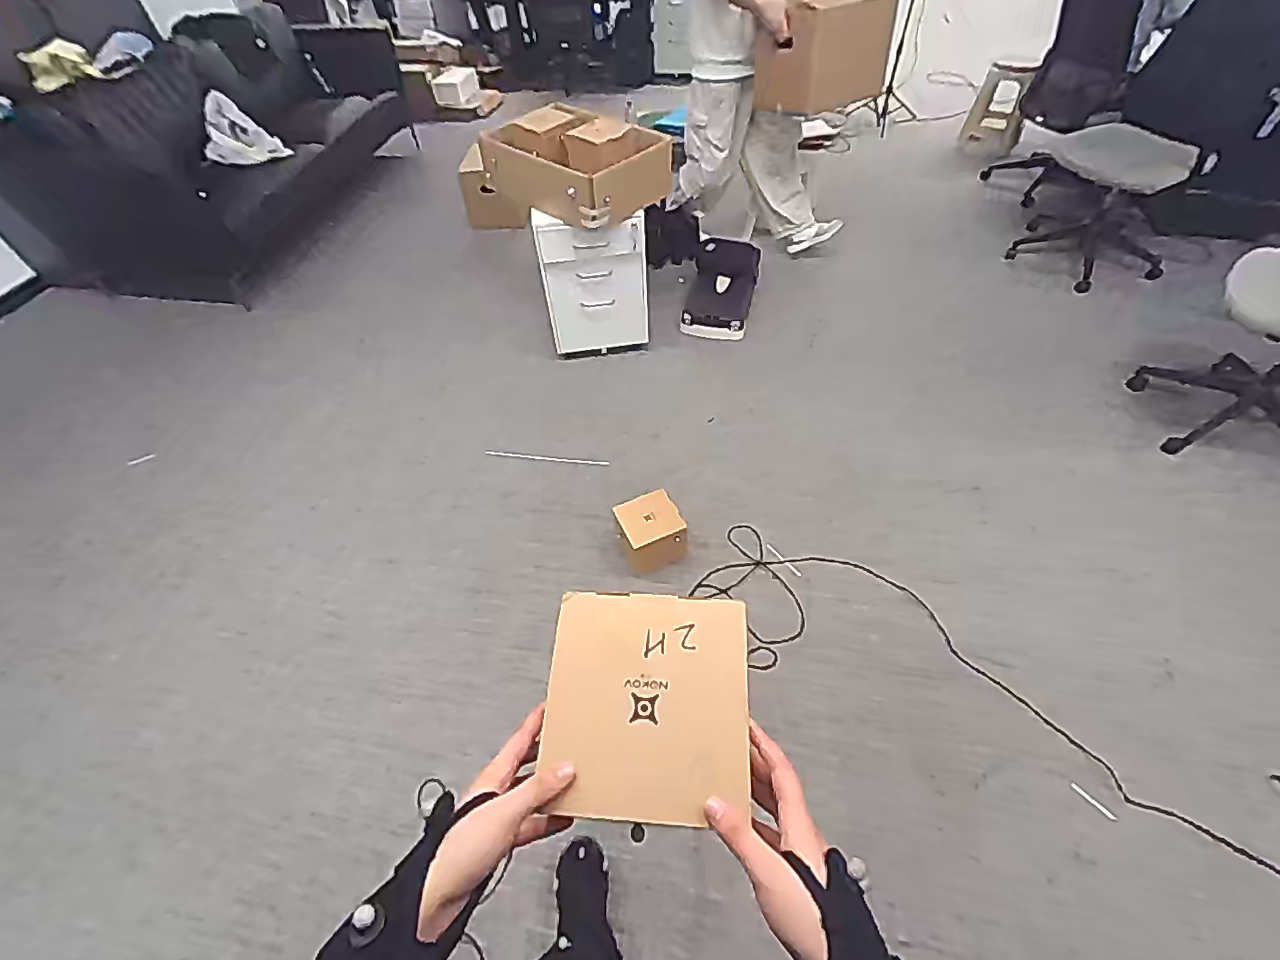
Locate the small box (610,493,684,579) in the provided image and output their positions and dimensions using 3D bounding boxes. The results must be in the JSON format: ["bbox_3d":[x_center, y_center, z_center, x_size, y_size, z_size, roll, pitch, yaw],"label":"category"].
[{"bbox_3d":[0.024,0.176,1.666,0.179,0.176,0.168,-21,52,-15],"label":"small box"}]
